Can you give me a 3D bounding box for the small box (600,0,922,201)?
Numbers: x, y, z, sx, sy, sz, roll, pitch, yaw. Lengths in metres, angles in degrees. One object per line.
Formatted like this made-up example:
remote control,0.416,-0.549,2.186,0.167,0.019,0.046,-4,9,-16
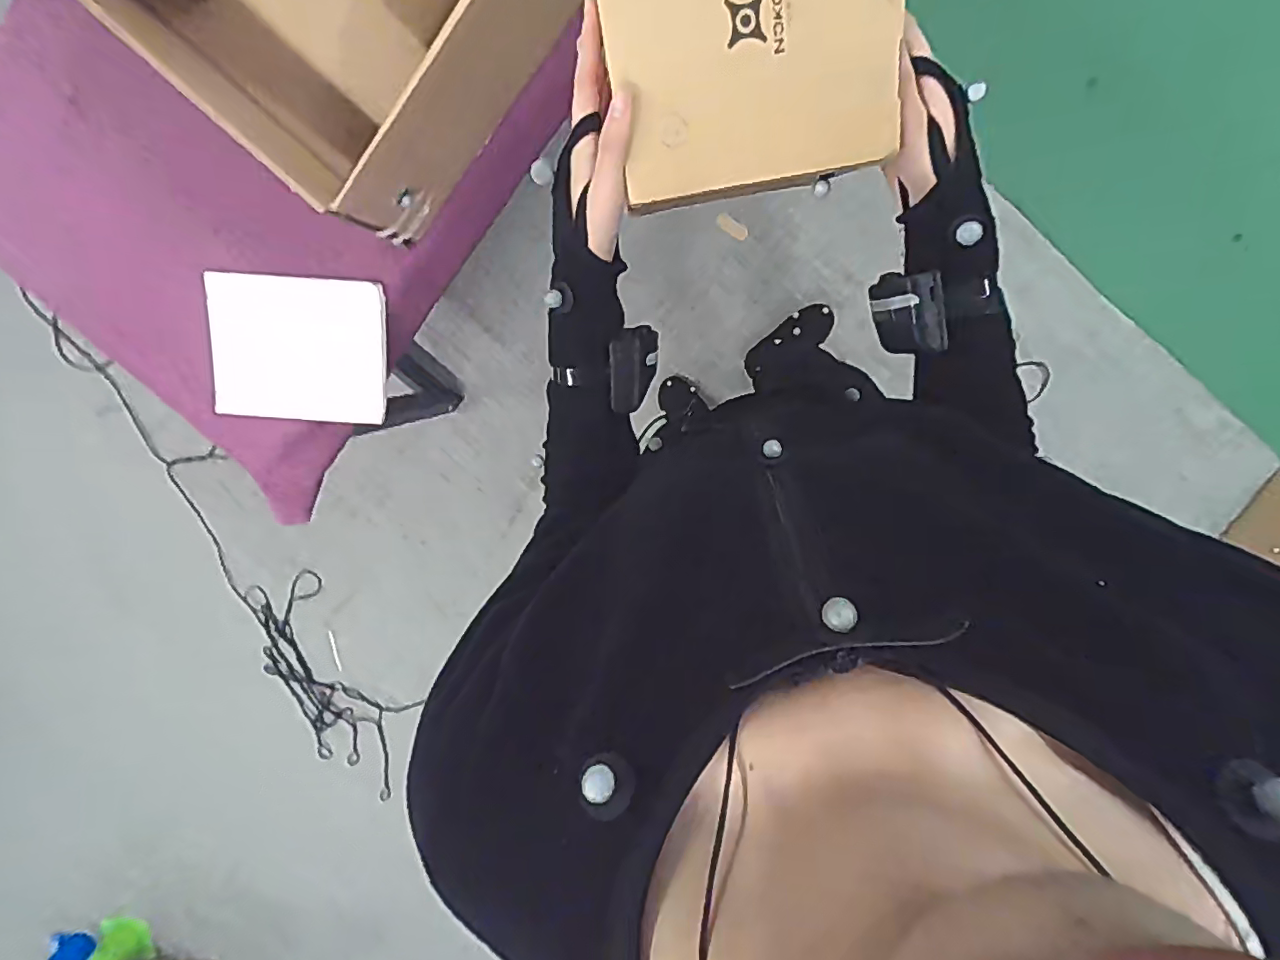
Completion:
small box,0.066,-0.300,0.372,0.179,0.176,0.168,-10,114,0
